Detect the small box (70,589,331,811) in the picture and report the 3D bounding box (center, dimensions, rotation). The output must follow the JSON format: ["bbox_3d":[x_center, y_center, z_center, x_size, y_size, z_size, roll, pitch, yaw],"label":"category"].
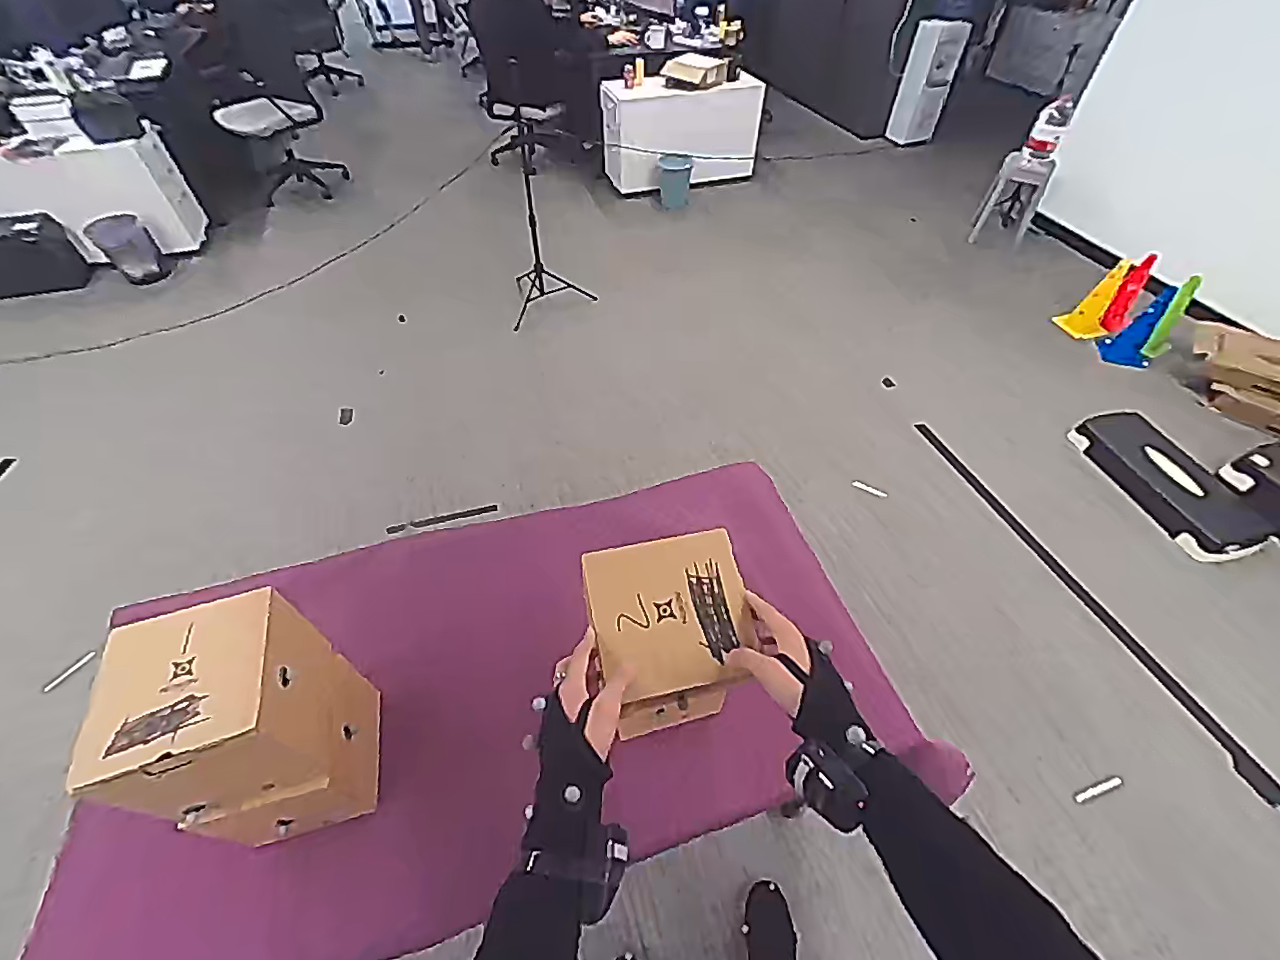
[{"bbox_3d":[-0.481,0.261,0.630,0.168,0.176,0.179,-15,51,-13],"label":"small box"}]

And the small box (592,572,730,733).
[{"bbox_3d":[0.027,0.275,0.842,0.168,0.176,0.179,-12,50,-10],"label":"small box"}]

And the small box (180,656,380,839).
[{"bbox_3d":[-0.475,0.375,0.749,0.168,0.176,0.179,-11,51,-11],"label":"small box"}]
